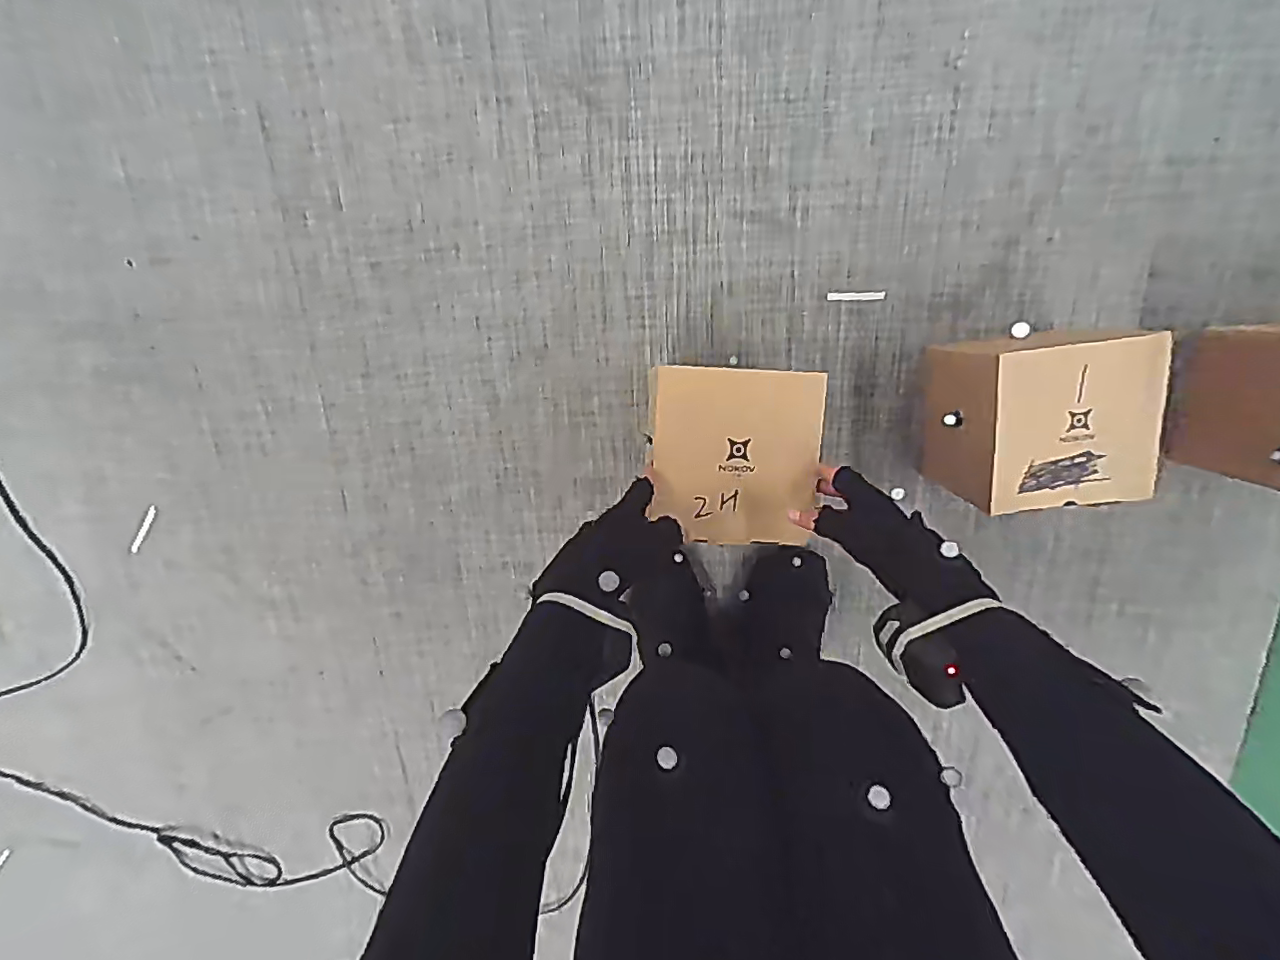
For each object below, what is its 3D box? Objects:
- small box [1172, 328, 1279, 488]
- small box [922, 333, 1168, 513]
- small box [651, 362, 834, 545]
[{"bbox_3d":[0.779,-0.085,0.621,0.168,0.176,0.179,-1,107,4],"label":"small box"},{"bbox_3d":[0.456,-0.075,0.642,0.168,0.176,0.179,-6,105,5],"label":"small box"},{"bbox_3d":[0.101,-0.037,0.614,0.168,0.176,0.179,3,100,-1],"label":"small box"}]
